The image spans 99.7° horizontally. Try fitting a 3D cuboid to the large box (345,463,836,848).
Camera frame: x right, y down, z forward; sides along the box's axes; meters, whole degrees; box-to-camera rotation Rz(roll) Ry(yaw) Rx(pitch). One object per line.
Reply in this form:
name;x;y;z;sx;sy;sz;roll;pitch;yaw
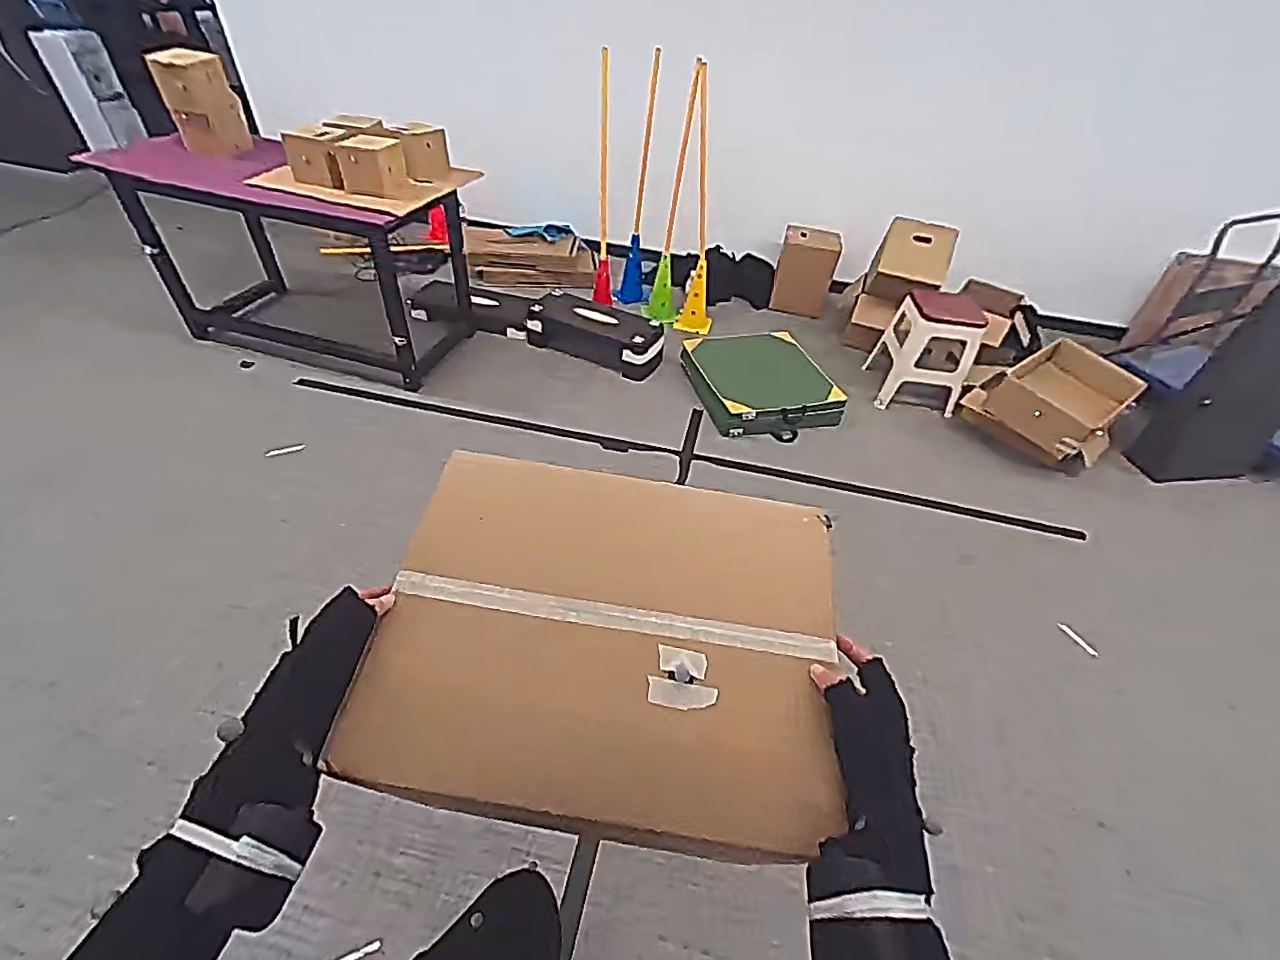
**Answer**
large box;-0.035;0.215;0.632;0.408;0.320;0.320;9;56;1
